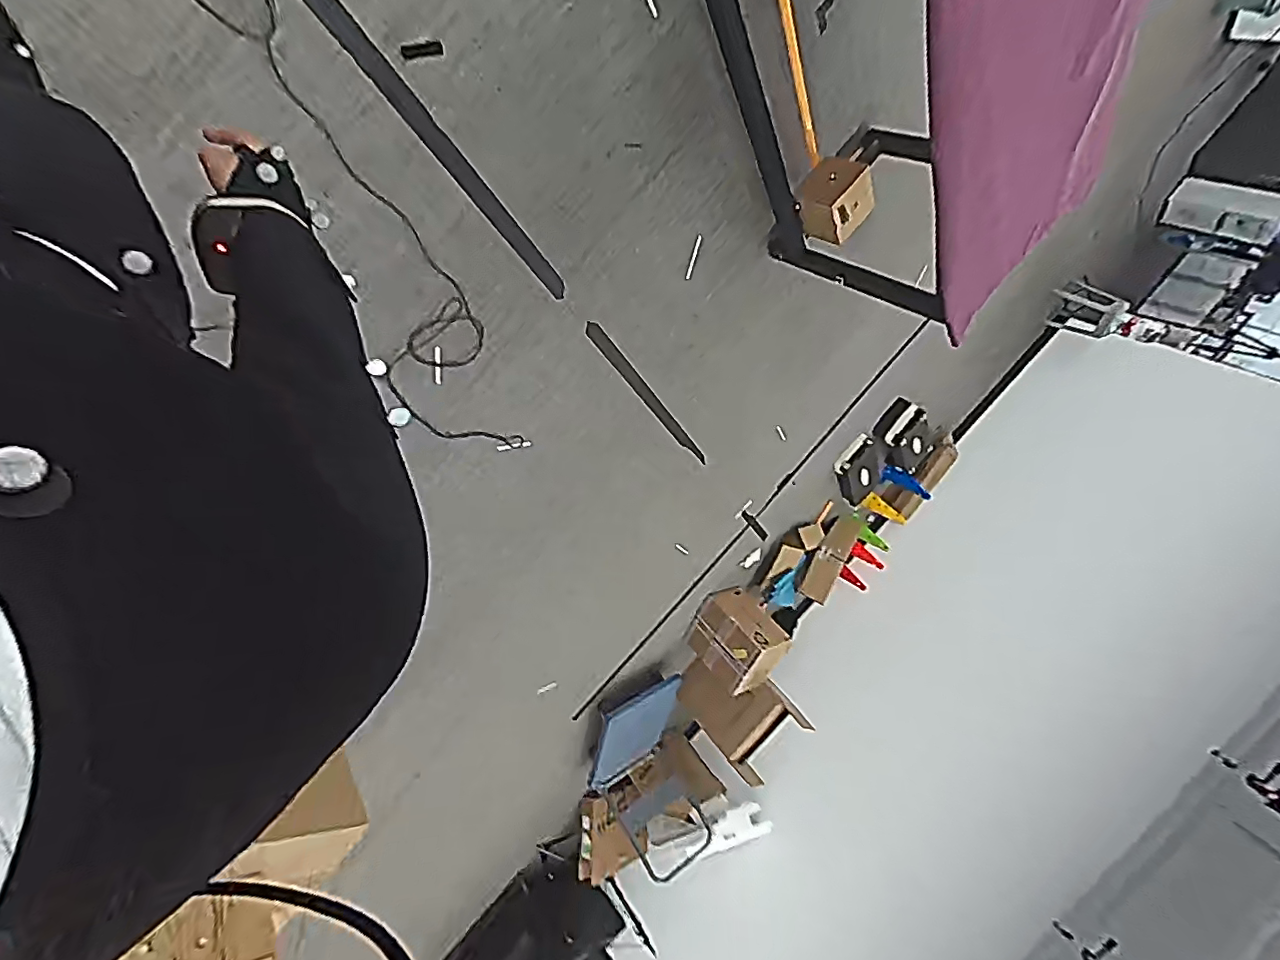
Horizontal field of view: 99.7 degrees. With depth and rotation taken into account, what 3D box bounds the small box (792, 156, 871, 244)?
[{"bbox_3d":[0.614,-0.906,1.748,0.179,0.176,0.168,-48,144,0],"label":"small box"}]
